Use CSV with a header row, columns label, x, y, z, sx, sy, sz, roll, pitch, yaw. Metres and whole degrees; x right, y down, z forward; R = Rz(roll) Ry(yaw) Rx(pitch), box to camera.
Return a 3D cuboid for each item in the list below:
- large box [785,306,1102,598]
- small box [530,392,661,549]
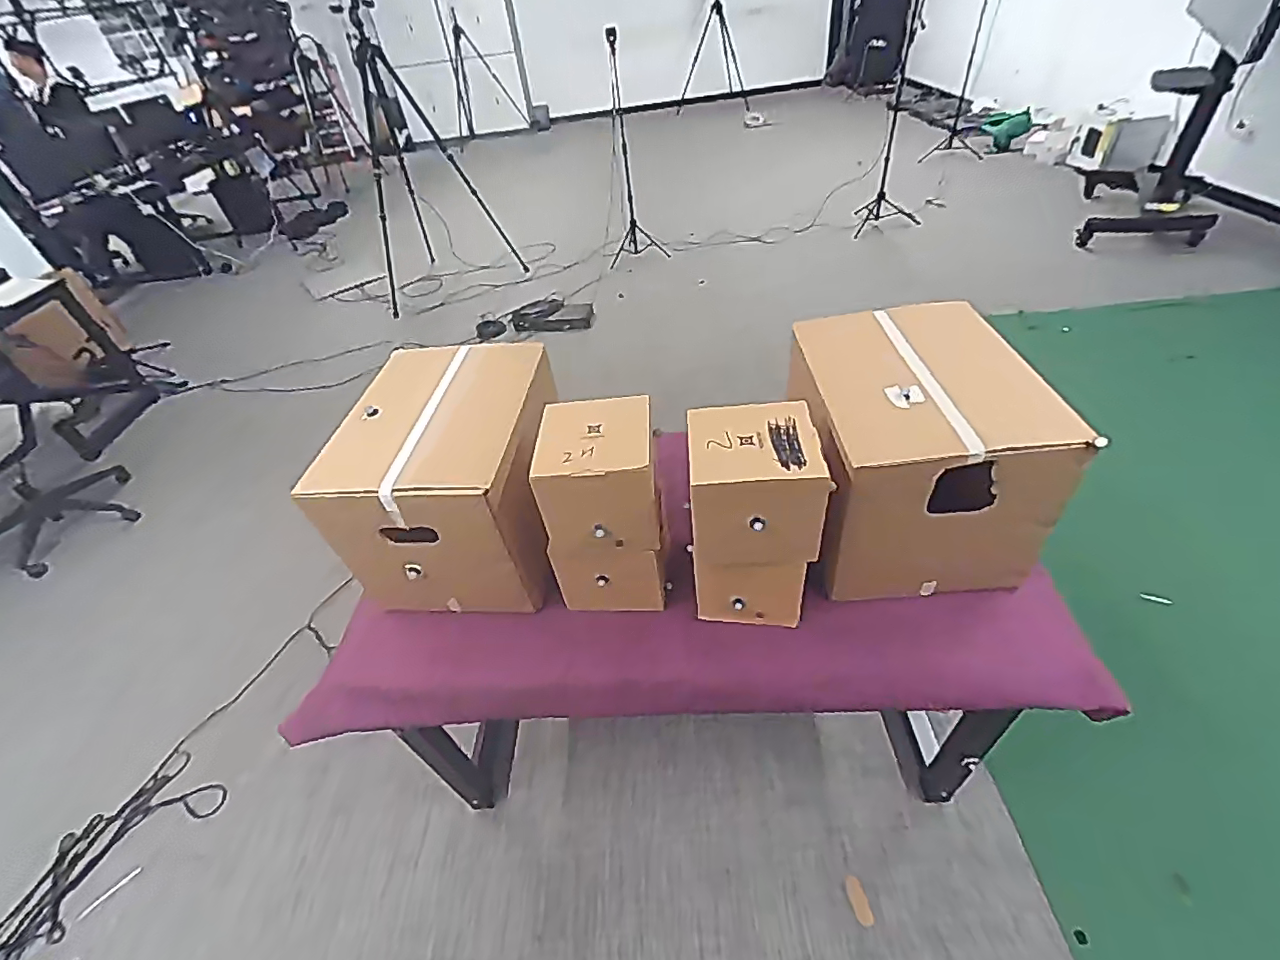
label,x,y,z,sx,sy,sz,roll,pitch,yaw
large box,0.453,-0.055,0.940,0.320,0.320,0.408,-6,43,6
small box,-0.058,-0.015,0.838,0.168,0.176,0.179,-4,43,6
